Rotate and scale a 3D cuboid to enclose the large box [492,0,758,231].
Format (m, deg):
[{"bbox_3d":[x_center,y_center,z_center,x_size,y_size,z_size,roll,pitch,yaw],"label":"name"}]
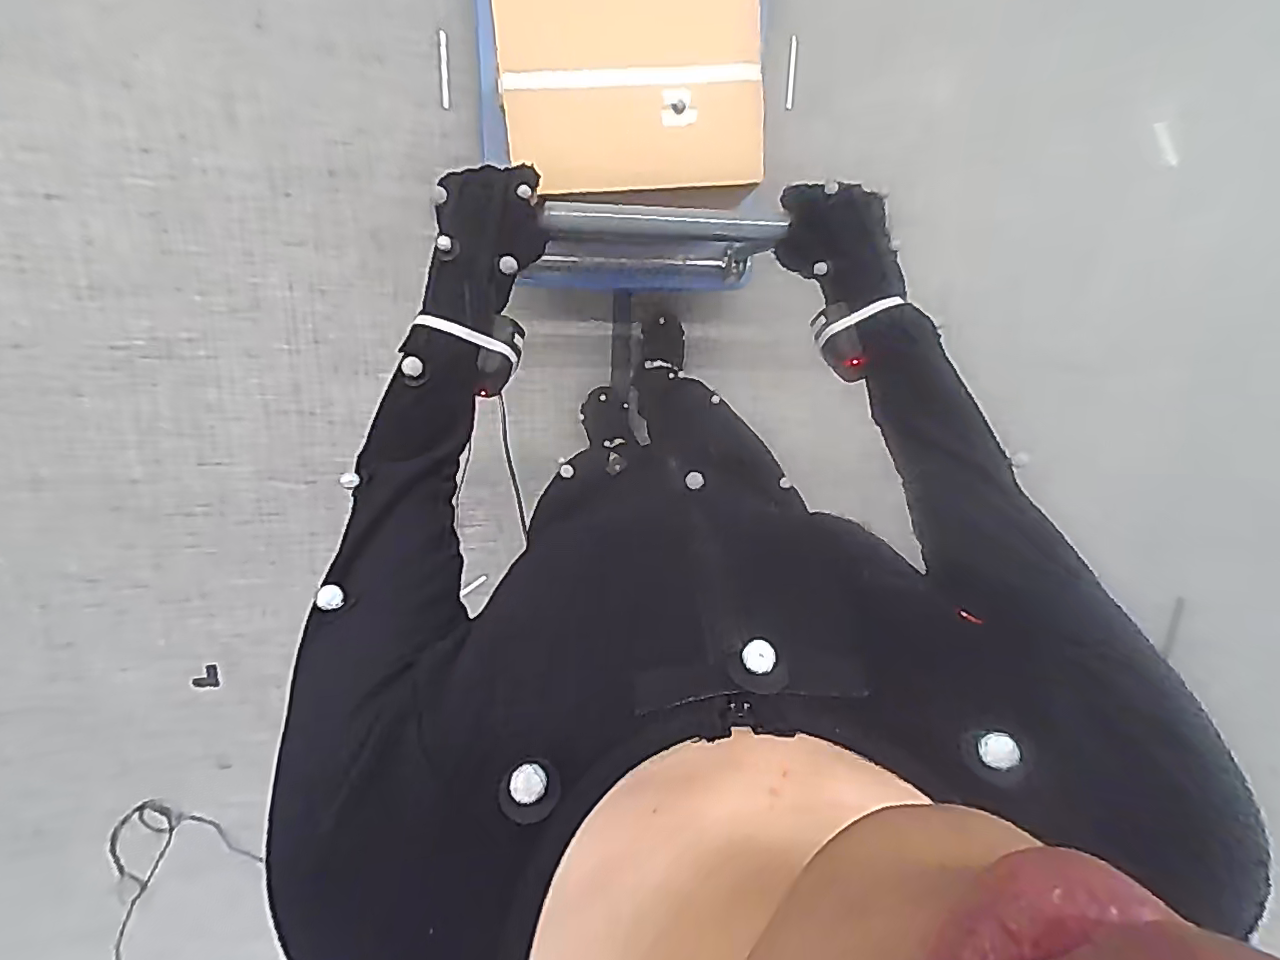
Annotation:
[{"bbox_3d":[-0.031,-0.665,0.988,0.408,0.320,0.320,-6,105,-6],"label":"large box"}]
